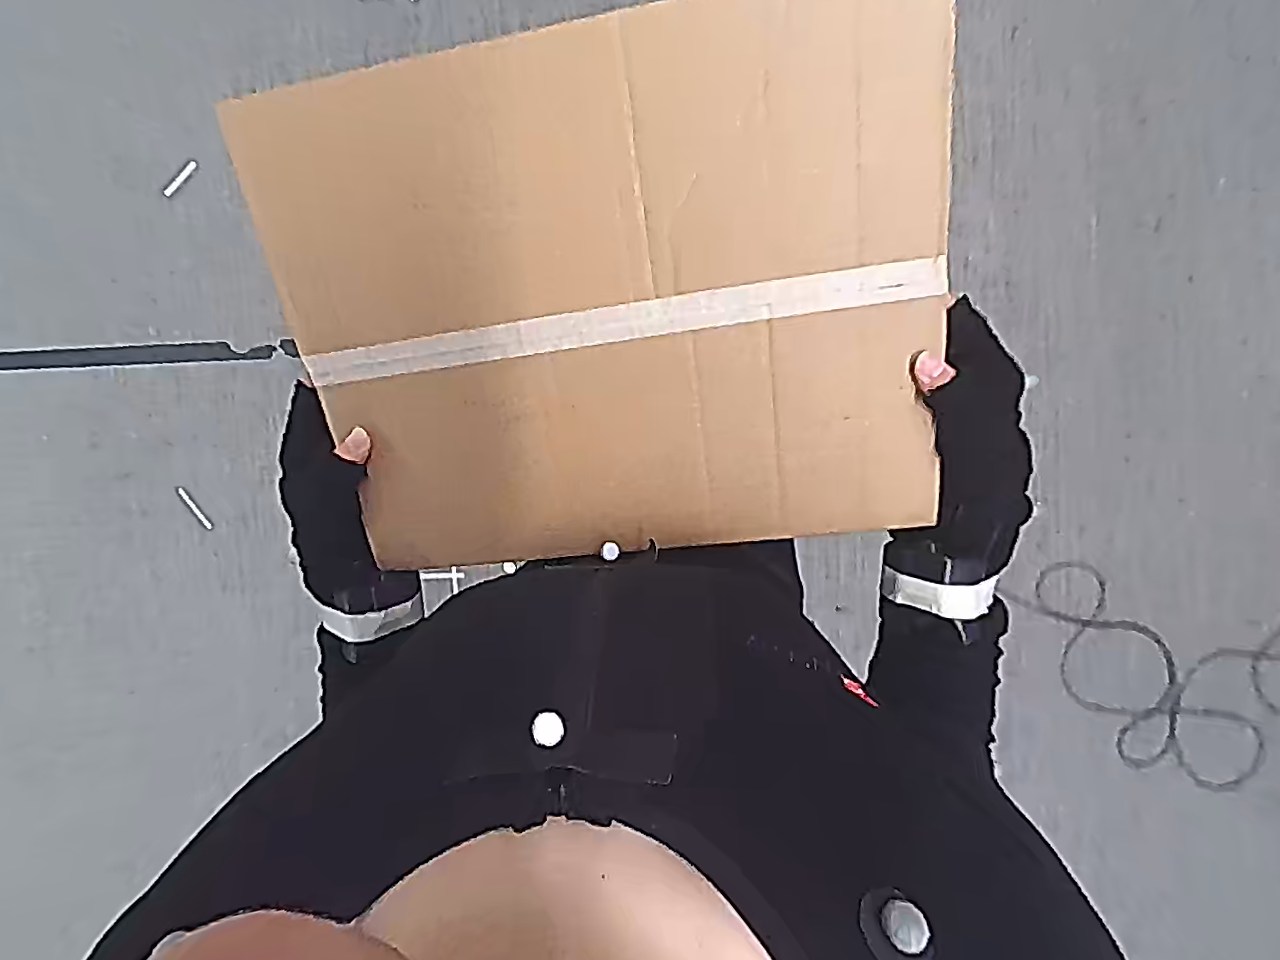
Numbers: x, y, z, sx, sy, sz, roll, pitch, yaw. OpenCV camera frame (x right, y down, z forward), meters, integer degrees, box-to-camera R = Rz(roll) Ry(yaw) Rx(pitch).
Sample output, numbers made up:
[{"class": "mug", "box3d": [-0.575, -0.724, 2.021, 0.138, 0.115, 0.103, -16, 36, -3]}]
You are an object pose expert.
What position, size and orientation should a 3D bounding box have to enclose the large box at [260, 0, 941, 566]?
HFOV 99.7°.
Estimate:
[{"class": "large box", "box3d": [-0.006, -0.146, 0.488, 0.408, 0.320, 0.320, -6, 110, 8]}]
